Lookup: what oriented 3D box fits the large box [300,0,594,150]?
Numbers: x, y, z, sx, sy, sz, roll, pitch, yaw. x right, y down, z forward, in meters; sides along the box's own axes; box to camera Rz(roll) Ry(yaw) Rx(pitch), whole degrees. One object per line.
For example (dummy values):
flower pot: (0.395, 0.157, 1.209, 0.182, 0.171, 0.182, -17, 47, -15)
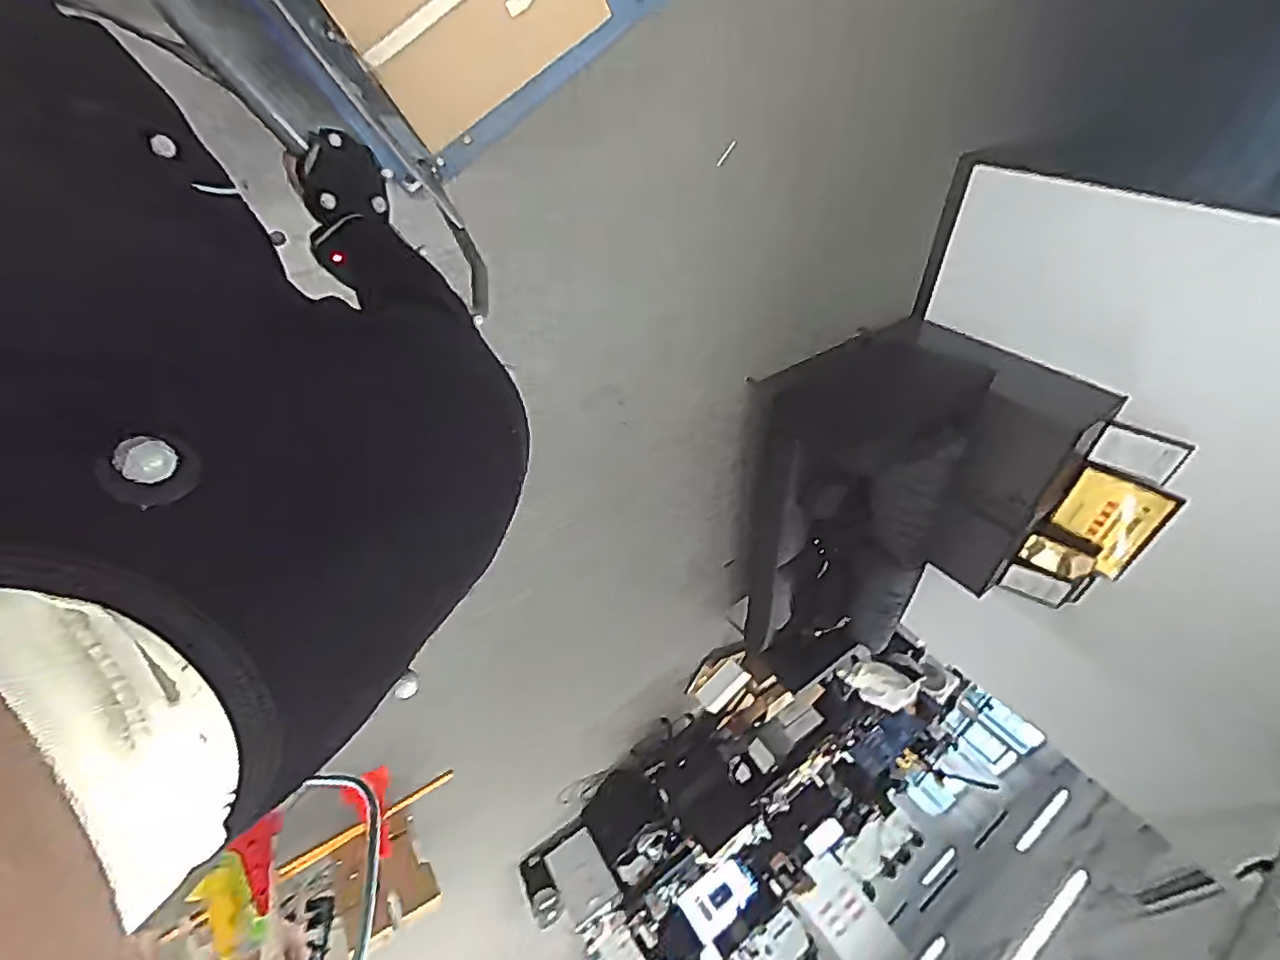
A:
large box: (-0.363, -0.868, 0.936, 0.408, 0.320, 0.320, -37, 142, 0)
